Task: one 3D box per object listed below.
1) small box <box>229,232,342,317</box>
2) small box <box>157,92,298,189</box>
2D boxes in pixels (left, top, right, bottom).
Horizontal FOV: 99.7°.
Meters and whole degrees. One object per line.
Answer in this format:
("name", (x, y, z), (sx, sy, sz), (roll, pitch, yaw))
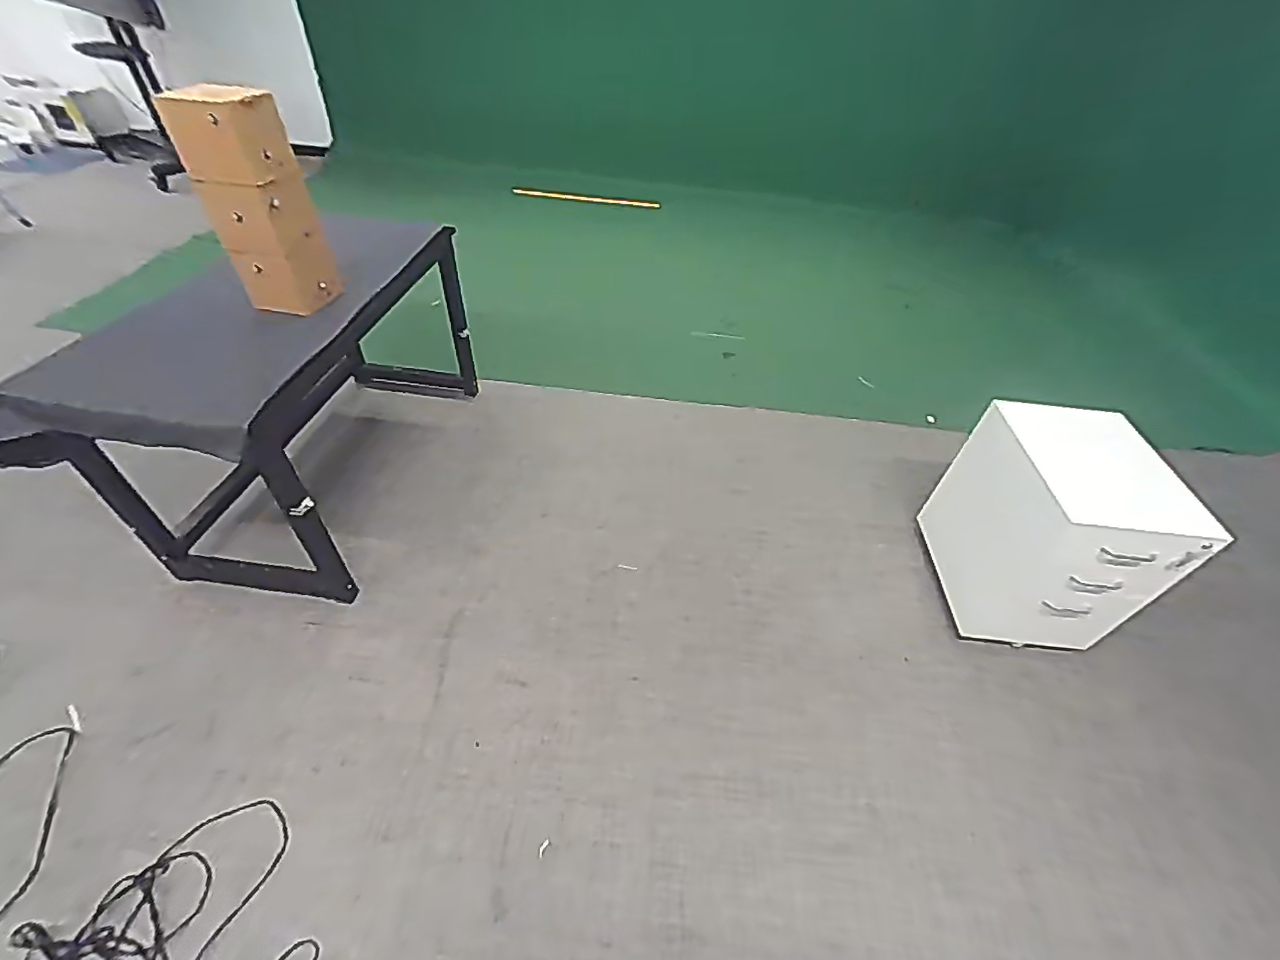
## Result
("small box", (-0.983, -0.574, 1.515), (0.179, 0.176, 0.168), (10, 44, 6))
("small box", (-0.968, -0.809, 1.289), (0.179, 0.176, 0.168), (7, 43, 3))
